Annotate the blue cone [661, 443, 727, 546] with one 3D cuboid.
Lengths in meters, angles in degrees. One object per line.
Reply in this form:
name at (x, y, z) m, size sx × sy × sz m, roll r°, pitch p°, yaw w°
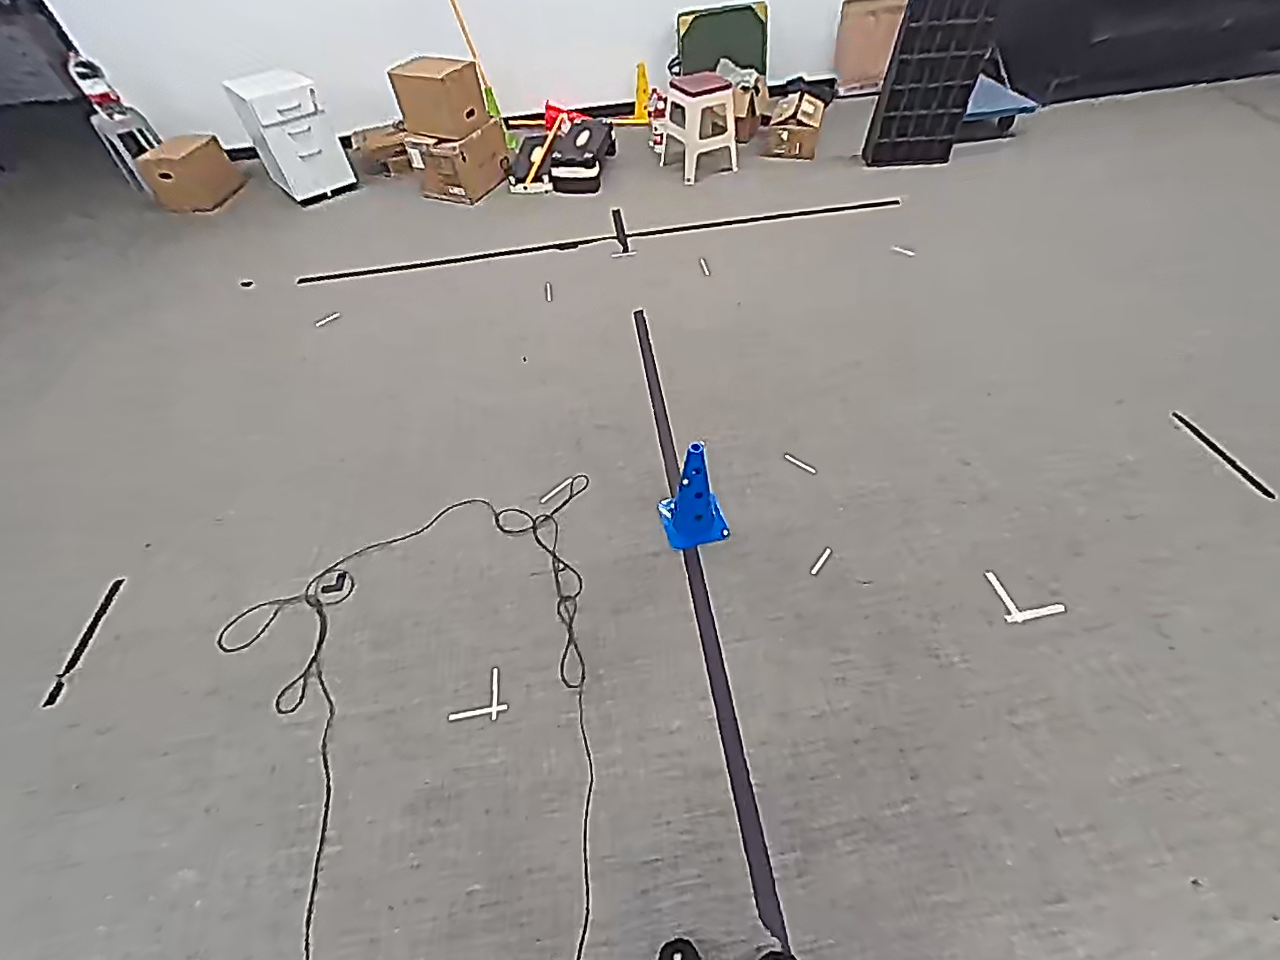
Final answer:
blue cone at (0.167, 0.026, 1.655) m, size 0.192 × 0.380 × 0.193 m, roll -10°, pitch 51°, yaw -6°
